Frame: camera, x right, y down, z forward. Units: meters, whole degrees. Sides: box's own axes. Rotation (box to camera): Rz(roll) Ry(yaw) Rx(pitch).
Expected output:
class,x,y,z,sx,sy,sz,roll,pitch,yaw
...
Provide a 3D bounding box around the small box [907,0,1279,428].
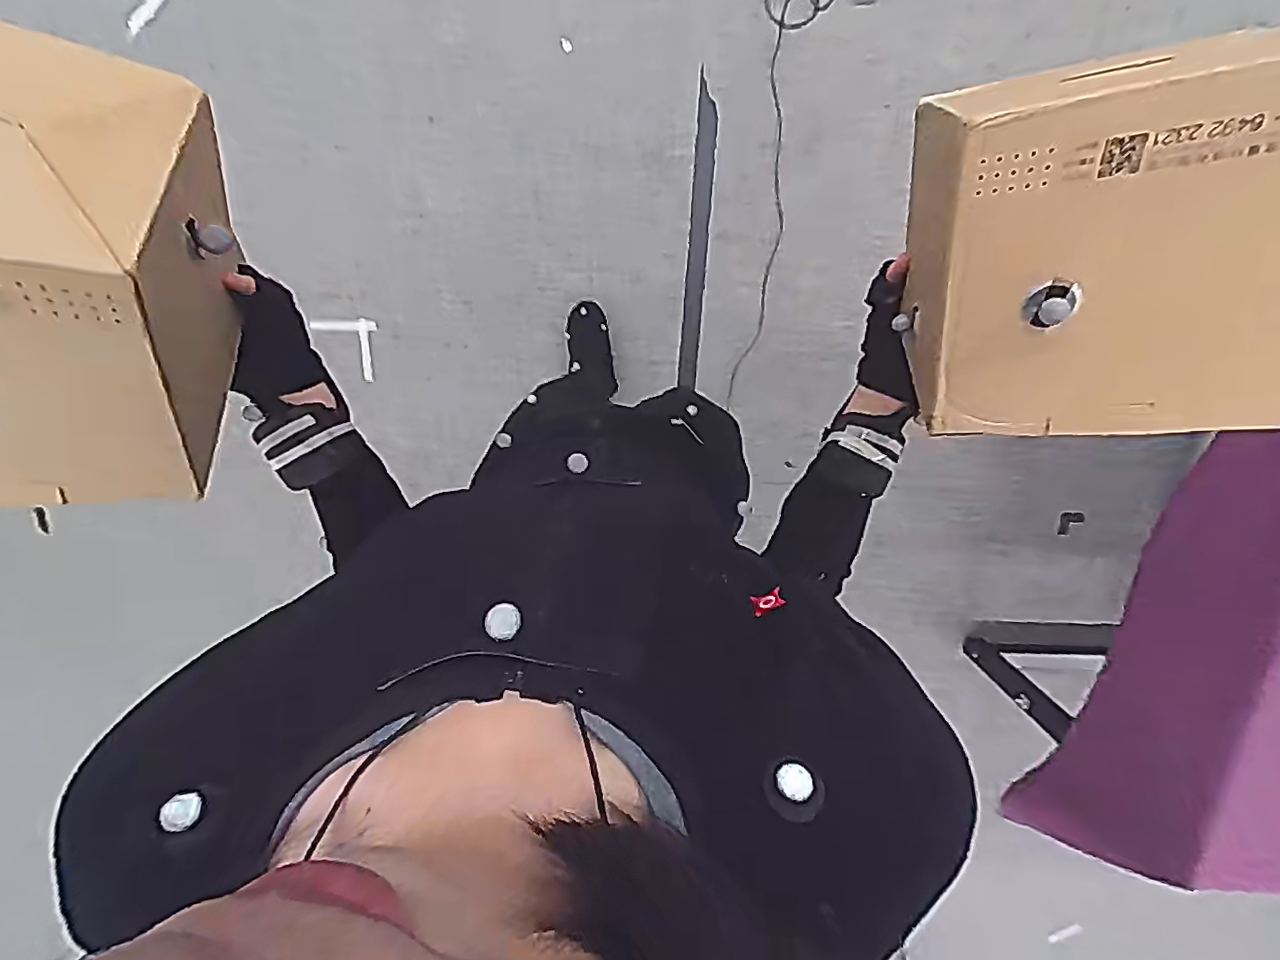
class,x,y,z,sx,sy,sz,roll,pitch,yaw
small box,0.256,-0.145,0.303,0.168,0.179,0.176,2,127,19

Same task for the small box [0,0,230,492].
class,x,y,z,sx,sy,sz,roll,pitch,yaw
small box,-0.322,-0.112,0.261,0.168,0.179,0.176,3,143,-28
